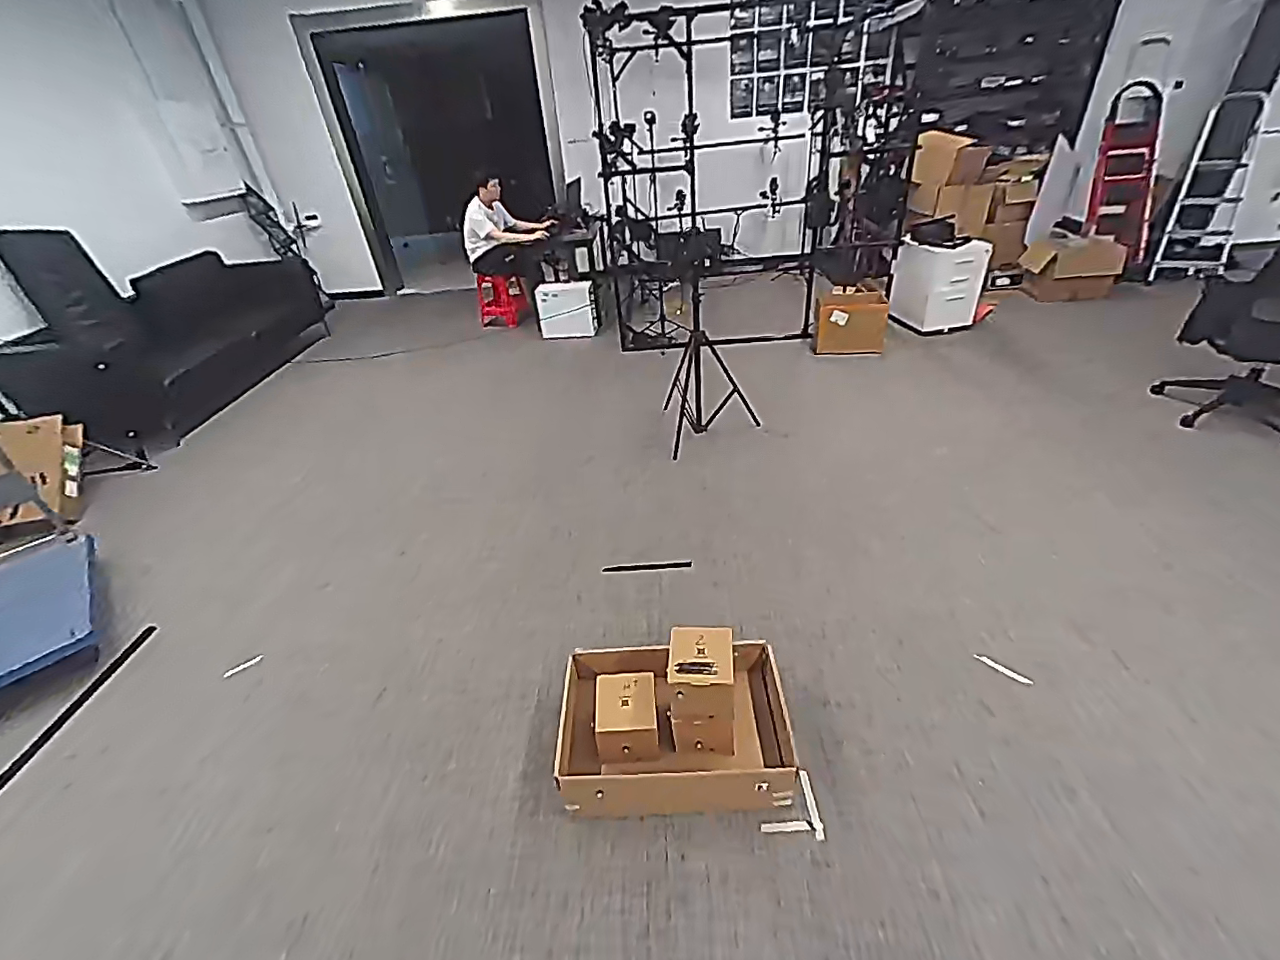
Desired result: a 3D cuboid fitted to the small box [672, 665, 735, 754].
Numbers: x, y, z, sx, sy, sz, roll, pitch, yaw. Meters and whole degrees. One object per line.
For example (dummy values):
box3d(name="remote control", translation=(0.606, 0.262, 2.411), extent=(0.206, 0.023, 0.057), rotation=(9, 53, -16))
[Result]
box3d(name="small box", translation=(0.182, 0.651, 1.540), extent=(0.168, 0.176, 0.179), rotation=(-3, 35, 8))

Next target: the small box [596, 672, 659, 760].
box3d(name="small box", translation=(-0.034, 0.673, 1.532), extent=(0.168, 0.176, 0.179), rotation=(-3, 34, -1))
